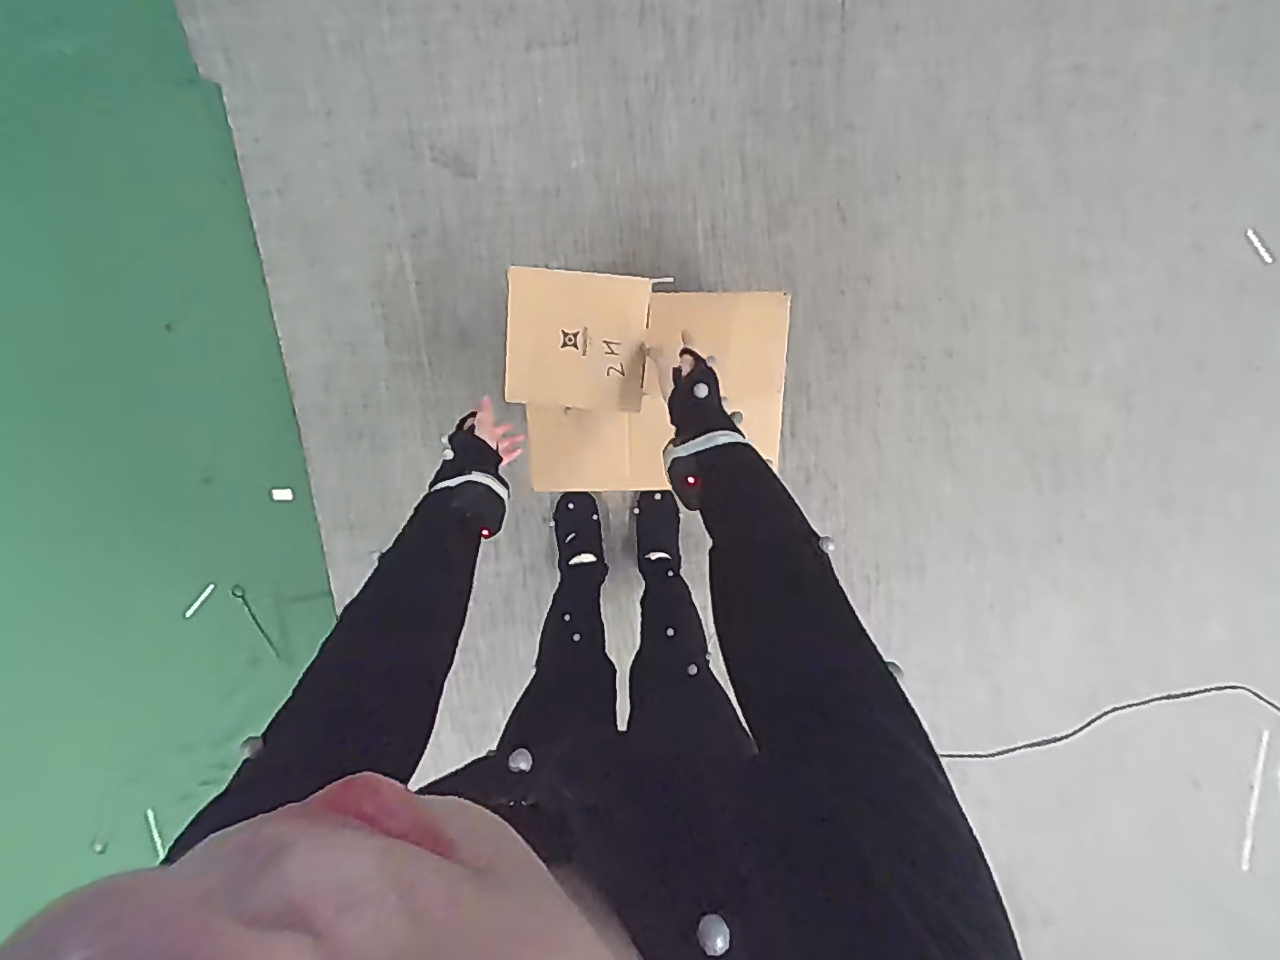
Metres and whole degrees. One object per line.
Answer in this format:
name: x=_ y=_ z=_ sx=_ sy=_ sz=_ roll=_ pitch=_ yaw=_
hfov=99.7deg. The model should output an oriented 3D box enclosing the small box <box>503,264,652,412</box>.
small box: x=-0.080 y=-0.188 z=0.747 sx=0.179 sy=0.176 sz=0.168 roll=5 pitch=102 yaw=-2
